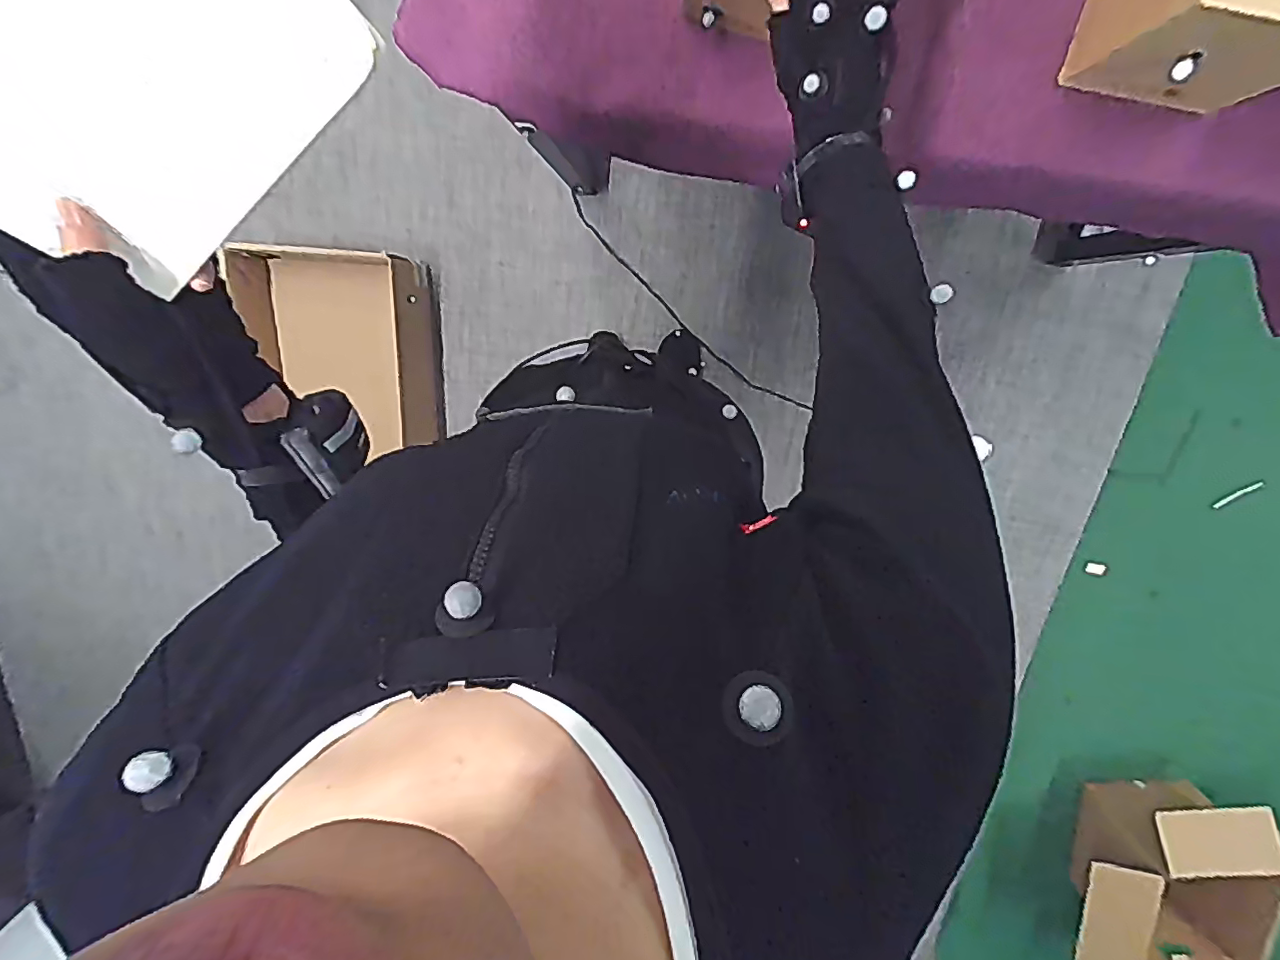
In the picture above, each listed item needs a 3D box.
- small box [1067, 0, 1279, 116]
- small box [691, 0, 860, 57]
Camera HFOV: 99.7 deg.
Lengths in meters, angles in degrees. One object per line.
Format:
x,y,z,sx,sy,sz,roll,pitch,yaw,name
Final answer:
0.531,-0.452,0.474,0.168,0.176,0.179,12,109,0,small box
0.140,-0.520,0.473,0.168,0.176,0.179,16,107,-2,small box
